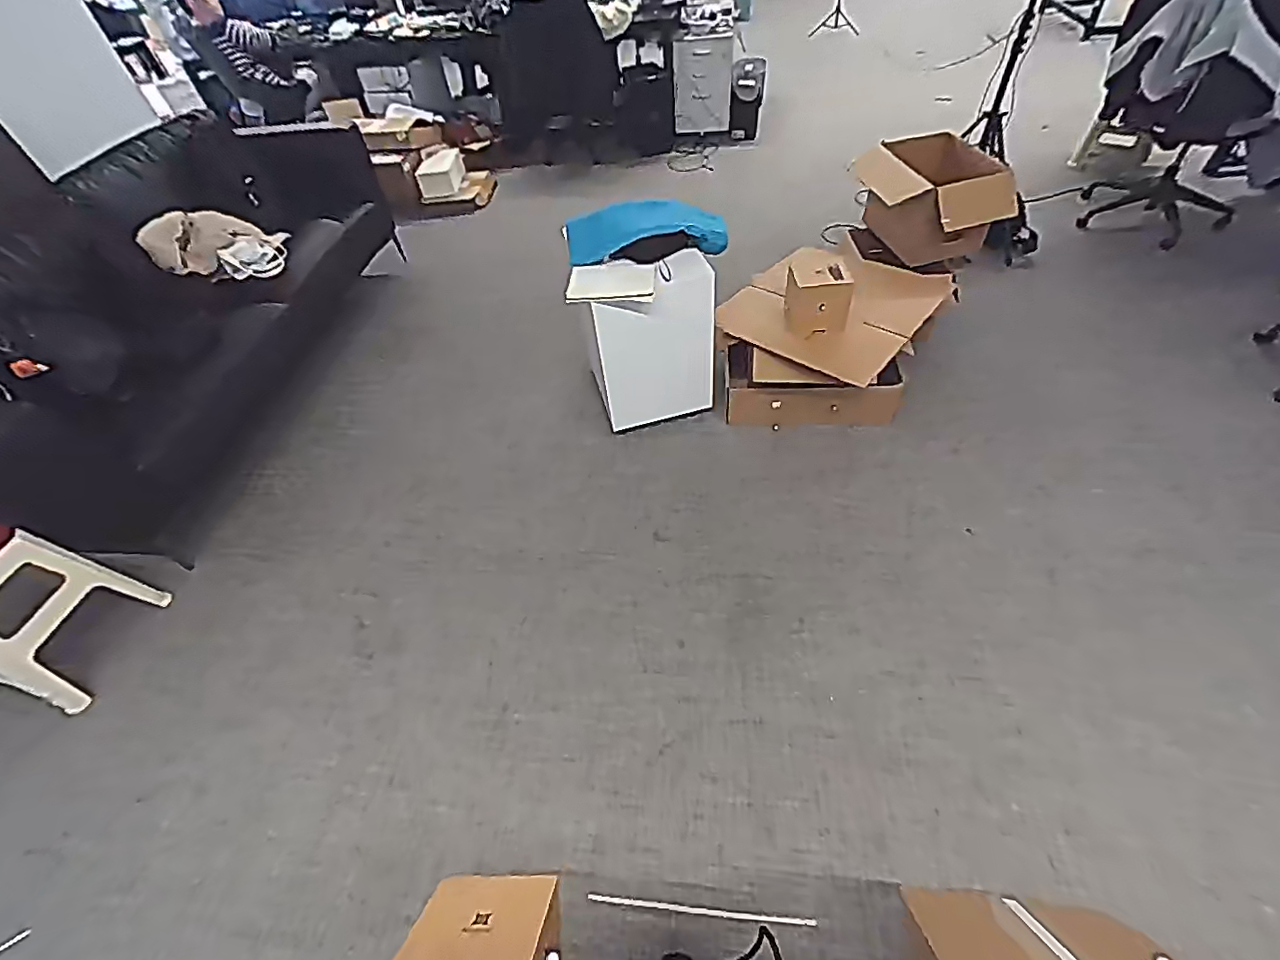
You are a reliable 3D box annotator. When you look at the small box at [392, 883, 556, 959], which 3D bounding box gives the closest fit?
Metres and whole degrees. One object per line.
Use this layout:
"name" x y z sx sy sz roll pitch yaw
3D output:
"small box" -0.201 0.640 0.666 0.168 0.179 0.176 -2 85 2
